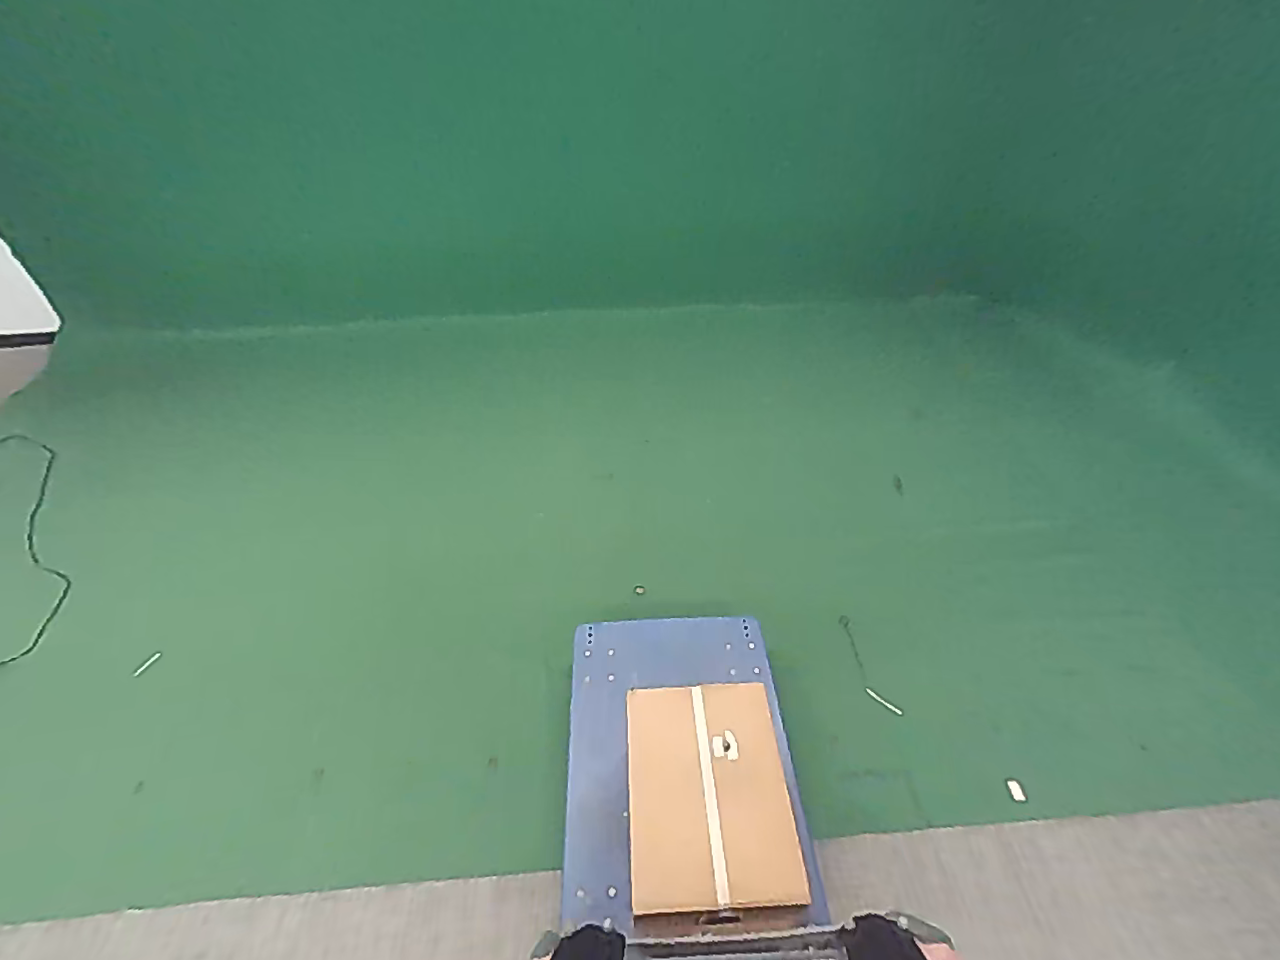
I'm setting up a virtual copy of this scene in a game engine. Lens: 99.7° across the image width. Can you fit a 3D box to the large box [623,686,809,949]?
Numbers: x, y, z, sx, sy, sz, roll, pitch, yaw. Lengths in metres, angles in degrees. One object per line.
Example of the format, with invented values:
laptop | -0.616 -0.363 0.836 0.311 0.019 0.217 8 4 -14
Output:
large box | 0.133 0.719 1.173 0.320 0.320 0.408 -2 41 -2
